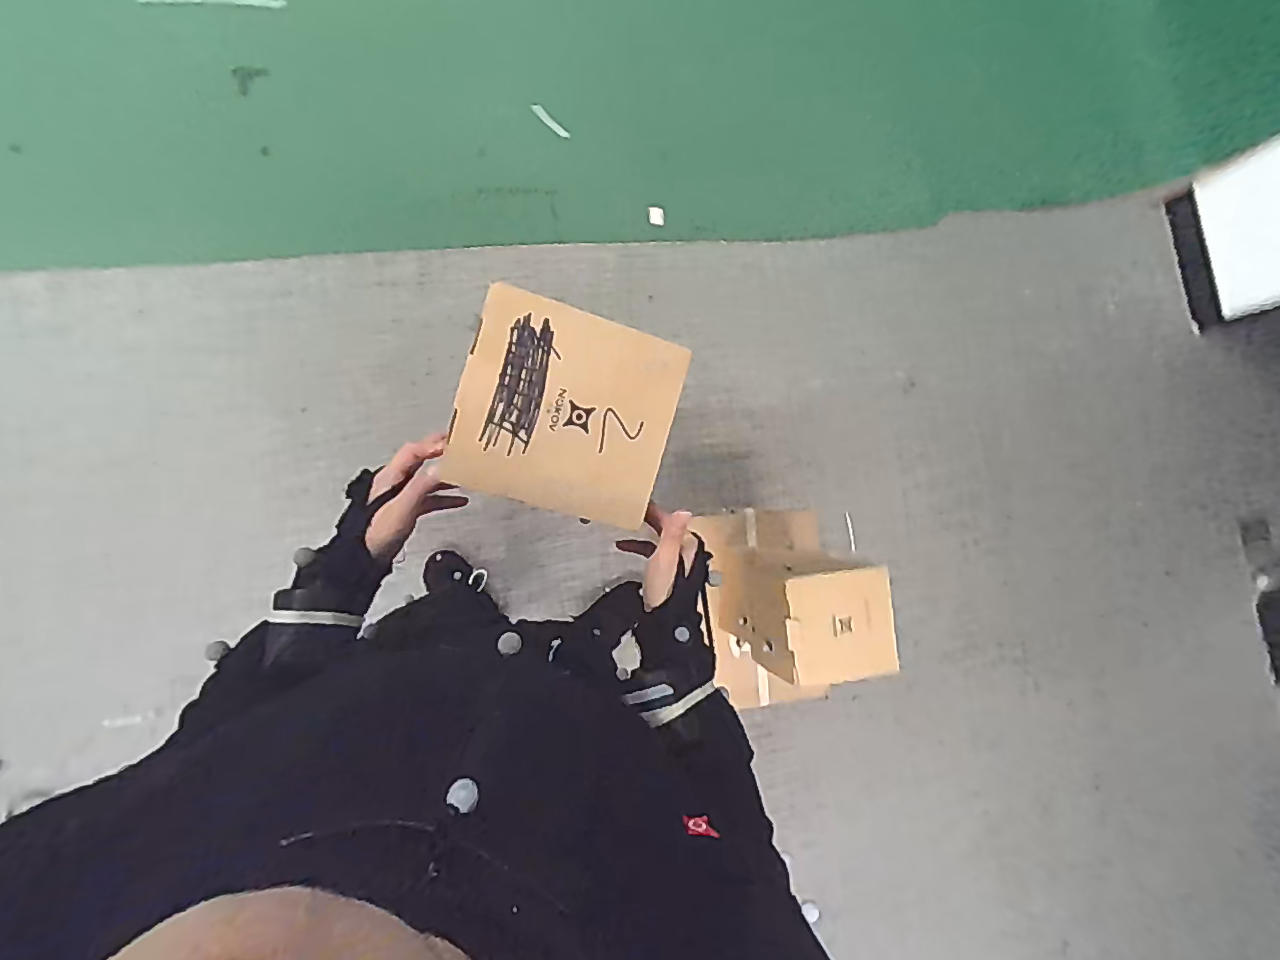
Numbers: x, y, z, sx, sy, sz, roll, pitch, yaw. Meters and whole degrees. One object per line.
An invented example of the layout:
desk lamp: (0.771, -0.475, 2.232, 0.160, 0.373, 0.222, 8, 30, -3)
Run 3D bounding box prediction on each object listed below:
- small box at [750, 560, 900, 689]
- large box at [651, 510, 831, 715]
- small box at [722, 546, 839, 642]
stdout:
small box: (0.292, 0.227, 0.892, 0.179, 0.176, 0.168, -5, 88, -13)
large box: (0.219, 0.283, 1.287, 0.320, 0.320, 0.408, -2, 87, -11)
small box: (0.267, 0.221, 1.054, 0.168, 0.176, 0.179, 4, 85, -12)
